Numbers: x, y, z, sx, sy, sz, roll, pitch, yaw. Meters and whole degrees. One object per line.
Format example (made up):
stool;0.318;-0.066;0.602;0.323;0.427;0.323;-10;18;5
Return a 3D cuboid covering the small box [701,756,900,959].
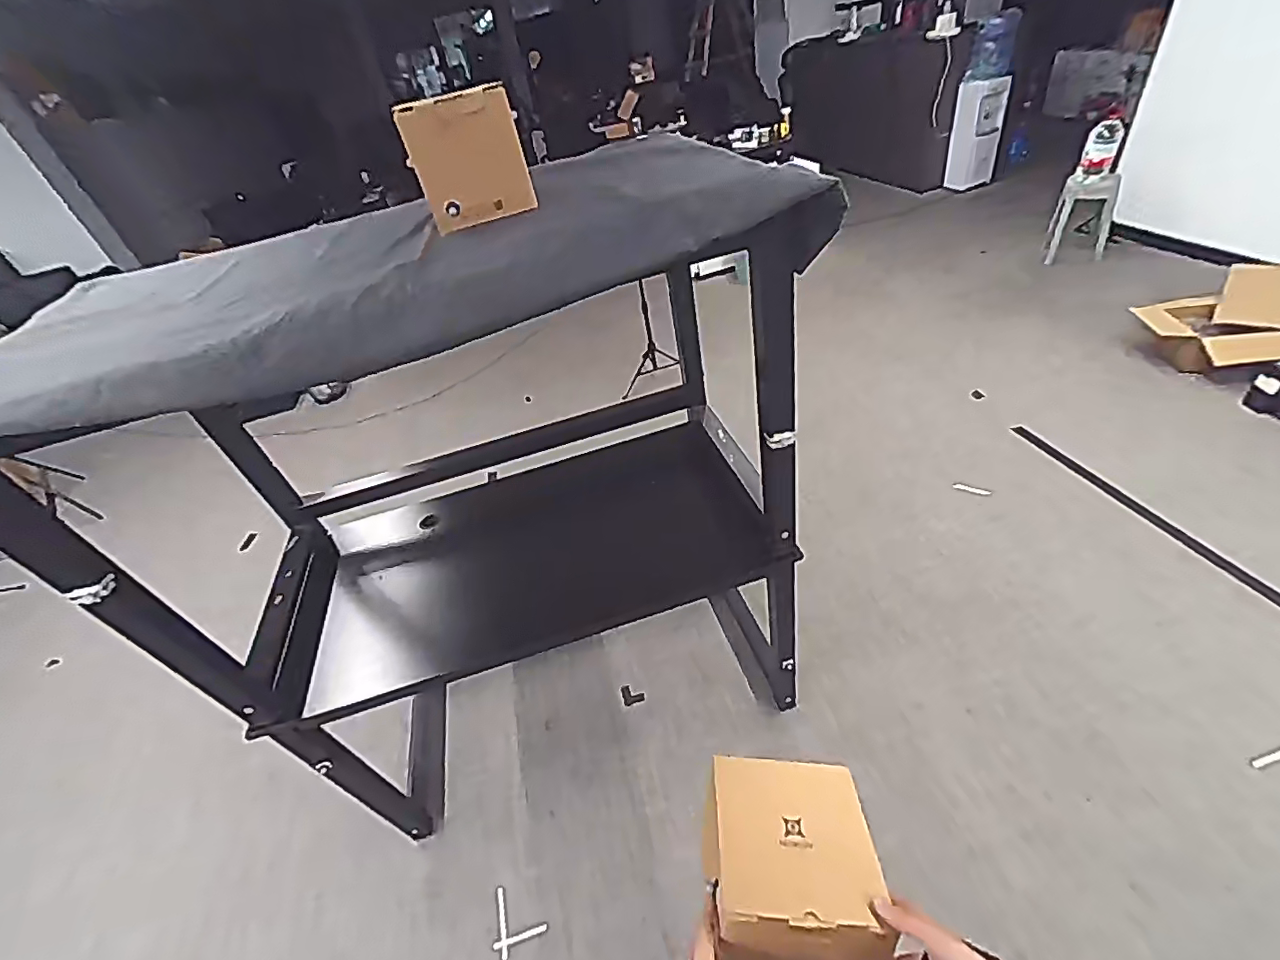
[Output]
small box;0.160;0.450;0.608;0.168;0.176;0.179;3;23;2

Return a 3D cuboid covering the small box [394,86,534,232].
small box;-0.283;-0.527;0.892;0.168;0.176;0.179;-19;39;-7
